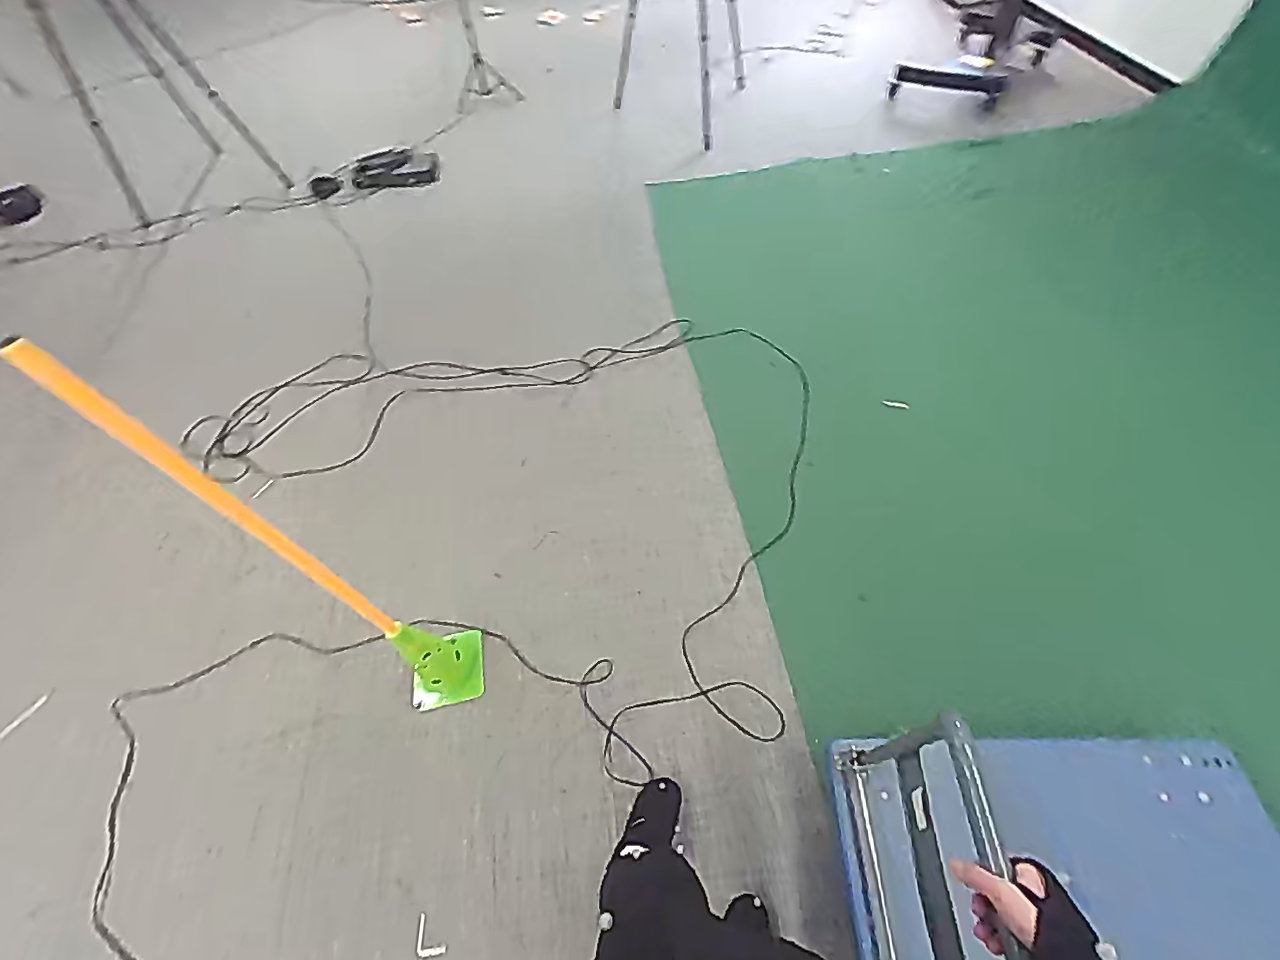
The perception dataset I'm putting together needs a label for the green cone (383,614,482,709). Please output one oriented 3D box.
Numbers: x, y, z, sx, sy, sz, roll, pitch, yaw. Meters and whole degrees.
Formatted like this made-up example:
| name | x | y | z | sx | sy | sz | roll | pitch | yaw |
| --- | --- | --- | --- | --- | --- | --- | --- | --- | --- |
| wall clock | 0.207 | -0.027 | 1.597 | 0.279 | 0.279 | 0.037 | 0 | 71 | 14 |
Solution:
| name | x | y | z | sx | sy | sz | roll | pitch | yaw |
| --- | --- | --- | --- | --- | --- | --- | --- | --- | --- |
| green cone | -0.569 | 0.441 | 1.416 | 0.200 | 0.368 | 0.202 | -12 | 55 | -4 |
